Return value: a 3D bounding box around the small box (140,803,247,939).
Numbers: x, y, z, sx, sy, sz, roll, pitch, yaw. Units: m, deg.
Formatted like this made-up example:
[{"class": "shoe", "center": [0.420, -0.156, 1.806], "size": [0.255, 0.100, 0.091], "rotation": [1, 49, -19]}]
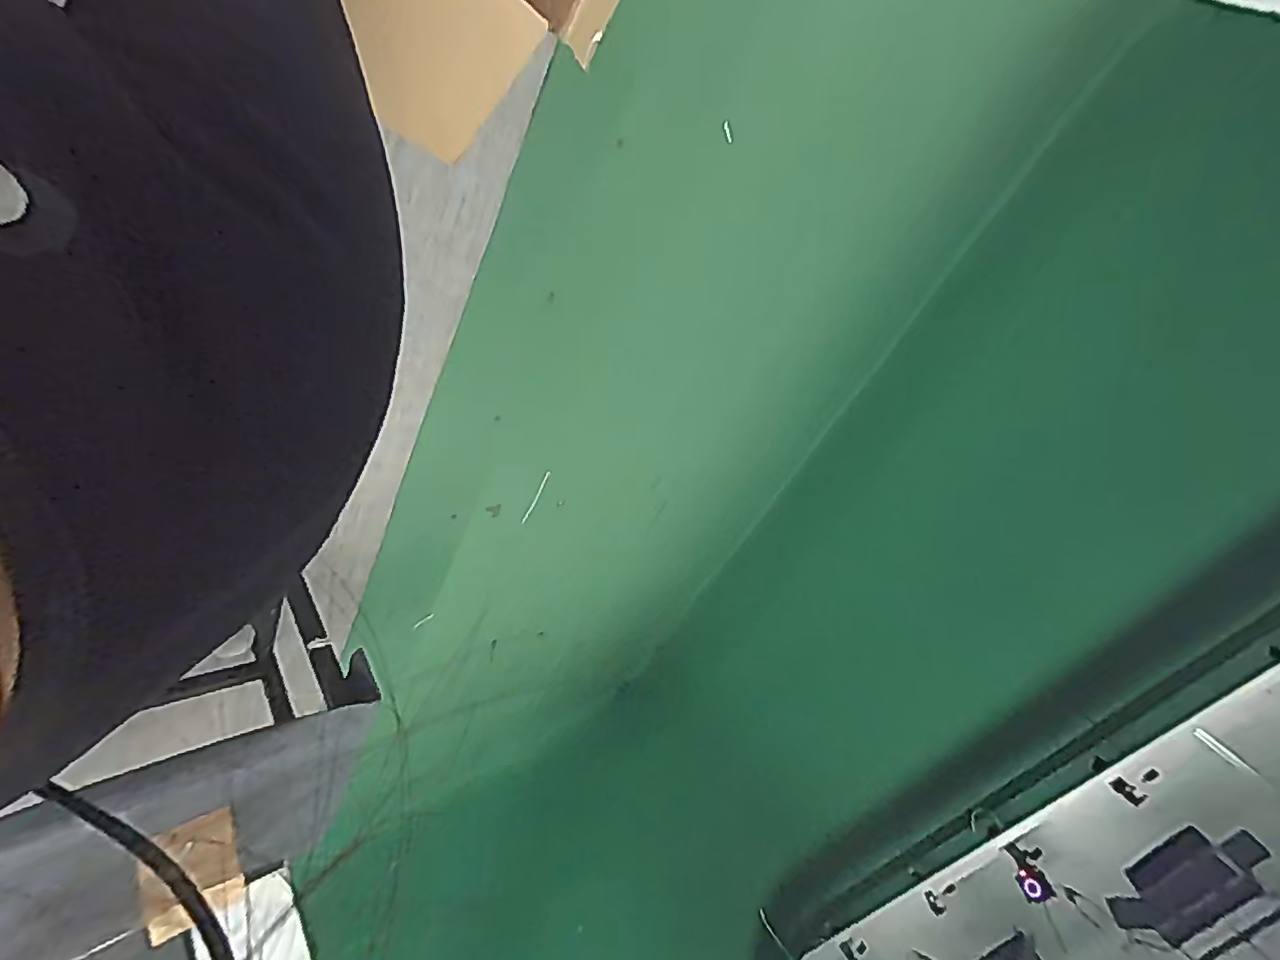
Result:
[{"class": "small box", "center": [-1.030, 0.892, 1.248], "size": [0.168, 0.176, 0.179], "rotation": [-10, 137, -45]}]
